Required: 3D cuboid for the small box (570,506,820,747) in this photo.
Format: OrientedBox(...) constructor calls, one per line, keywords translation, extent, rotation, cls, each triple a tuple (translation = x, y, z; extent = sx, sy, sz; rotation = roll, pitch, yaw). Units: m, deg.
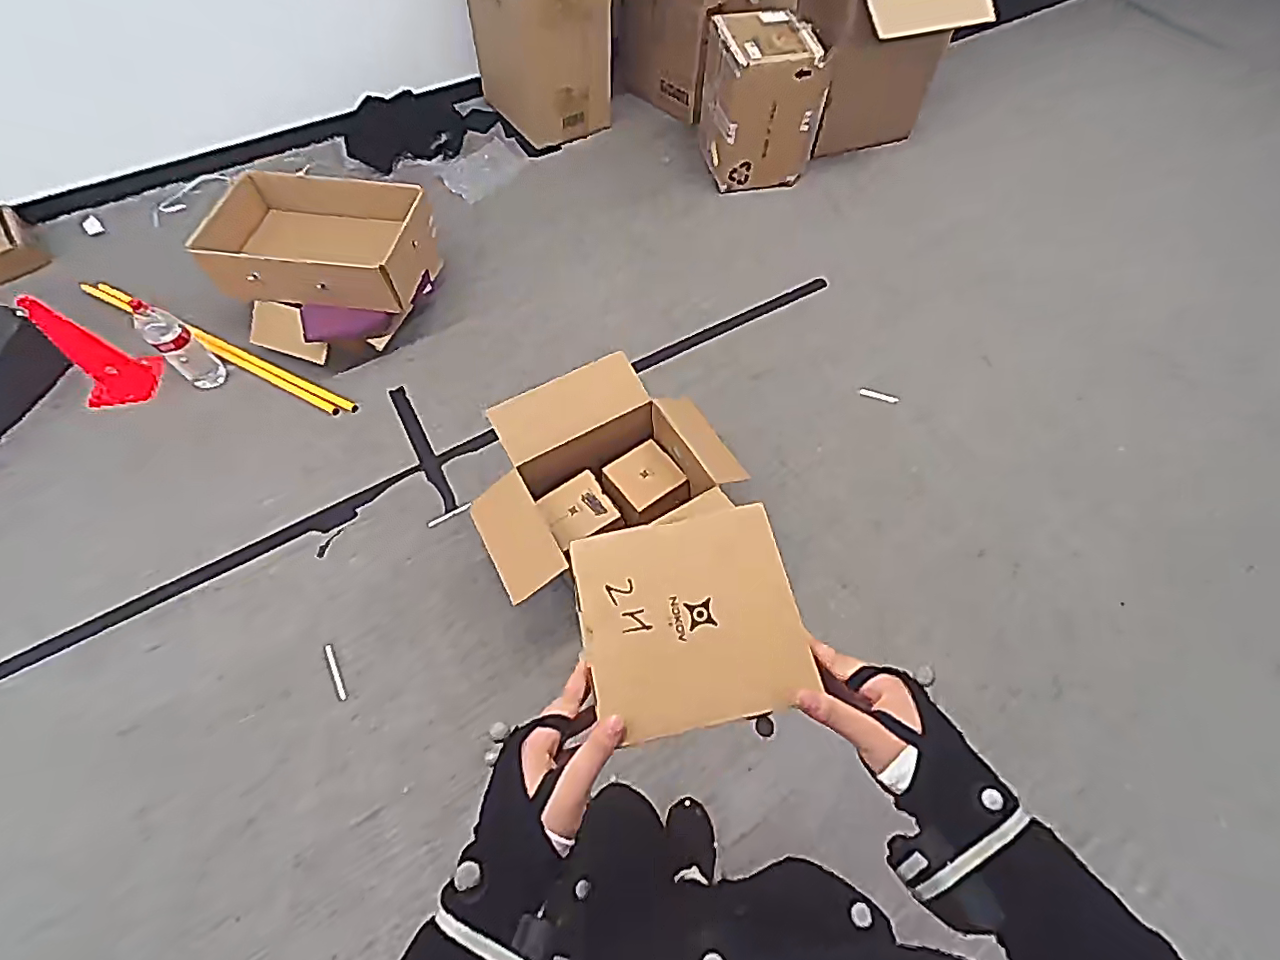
OrientedBox(translation=(0.040, 0.142, 0.512), extent=(0.179, 0.176, 0.168), rotation=(-12, 66, -4), cls="small box")
